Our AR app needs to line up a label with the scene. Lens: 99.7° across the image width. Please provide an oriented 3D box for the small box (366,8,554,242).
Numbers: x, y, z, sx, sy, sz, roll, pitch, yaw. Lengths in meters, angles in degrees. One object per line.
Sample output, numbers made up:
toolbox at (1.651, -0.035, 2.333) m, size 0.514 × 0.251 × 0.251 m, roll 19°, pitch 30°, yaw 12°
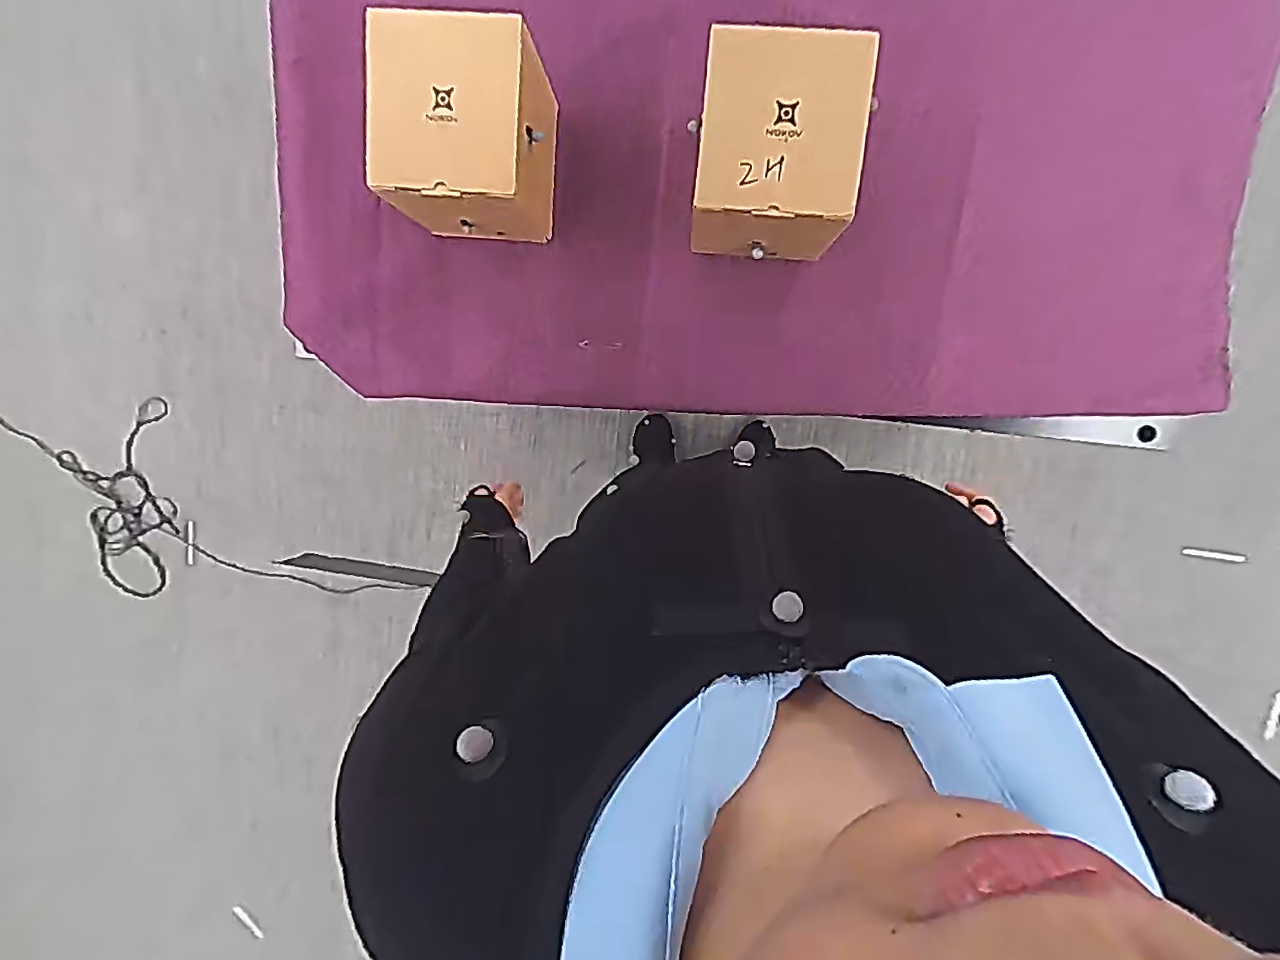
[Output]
small box at (-0.201, -0.404, 0.643) m, size 0.168 × 0.176 × 0.179 m, roll 5°, pitch 100°, yaw 3°

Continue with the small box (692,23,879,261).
small box at (0.150, -0.369, 0.620) m, size 0.168 × 0.176 × 0.179 m, roll 6°, pitch 99°, yaw 4°
